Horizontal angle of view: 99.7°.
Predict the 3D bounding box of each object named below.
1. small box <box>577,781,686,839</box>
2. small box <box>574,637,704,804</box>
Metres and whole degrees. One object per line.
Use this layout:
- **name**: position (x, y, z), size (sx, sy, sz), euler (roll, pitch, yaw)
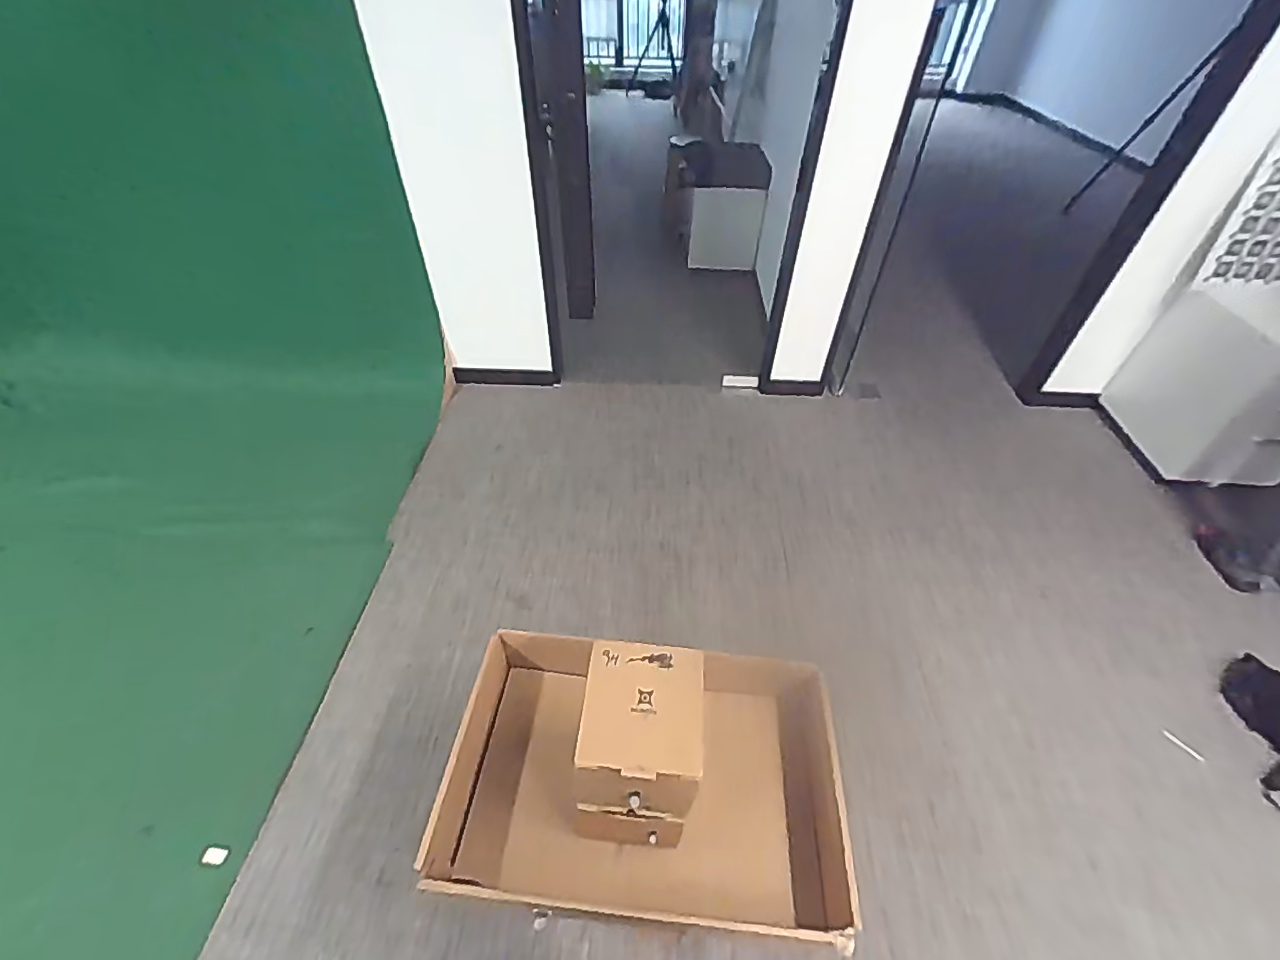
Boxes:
- **small box**: position (-0.008, 0.480, 0.908), size (0.168, 0.176, 0.179), euler (5, 43, 1)
- **small box**: position (0.002, 0.358, 0.798), size (0.168, 0.176, 0.179), euler (6, 46, 1)
